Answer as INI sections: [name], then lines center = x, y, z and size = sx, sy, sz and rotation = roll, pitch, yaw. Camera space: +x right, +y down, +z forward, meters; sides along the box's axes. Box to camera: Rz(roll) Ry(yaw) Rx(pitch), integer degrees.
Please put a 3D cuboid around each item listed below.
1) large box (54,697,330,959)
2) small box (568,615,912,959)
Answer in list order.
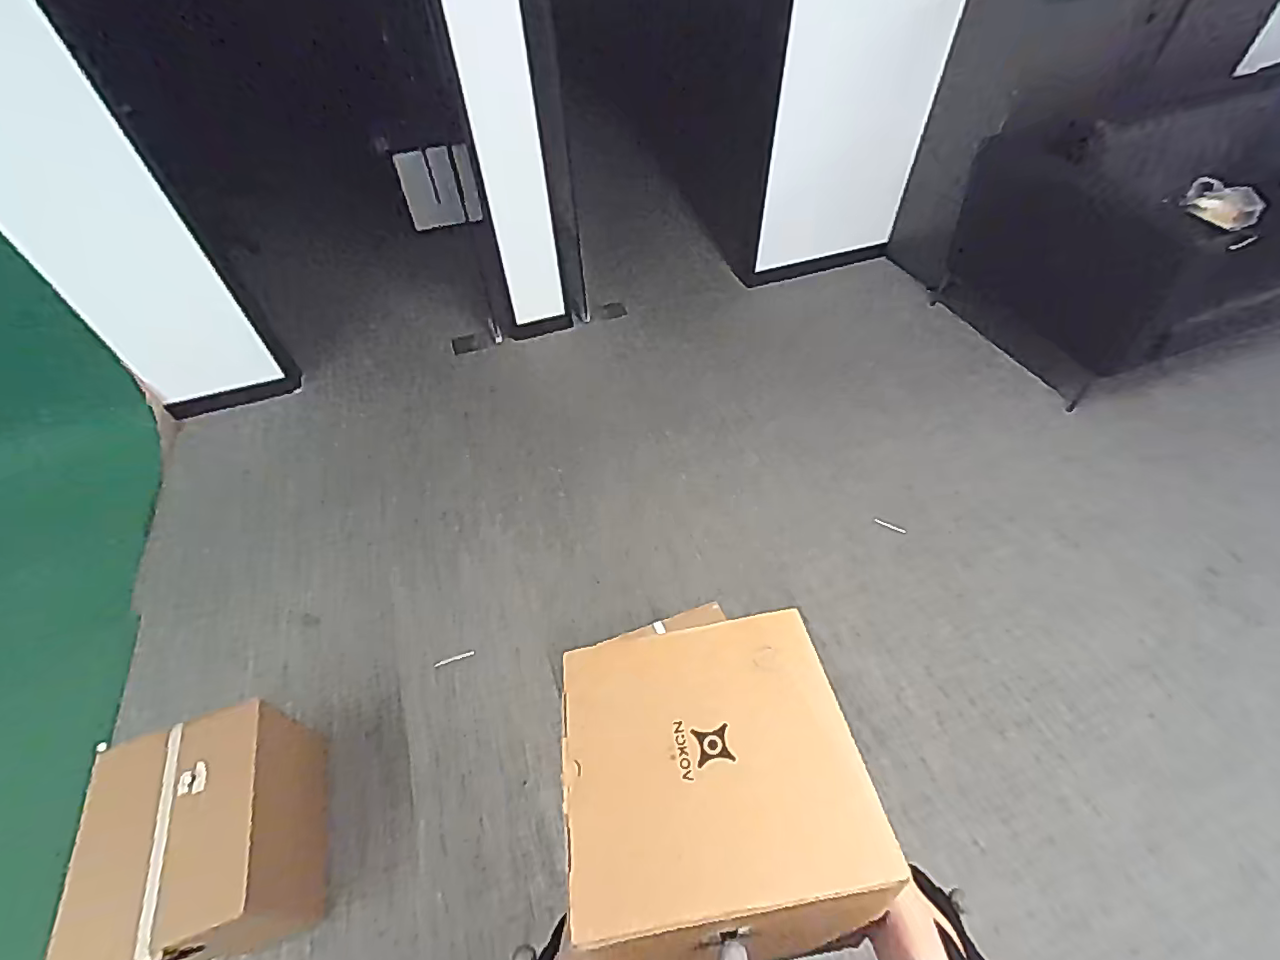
[large box]
center = -0.883, 0.750, 1.134
size = 0.320, 0.320, 0.408
rotation = -18, 51, -12
[small box]
center = 0.053, 0.224, 0.382
size = 0.179, 0.176, 0.168
rotation = -11, 41, -1
